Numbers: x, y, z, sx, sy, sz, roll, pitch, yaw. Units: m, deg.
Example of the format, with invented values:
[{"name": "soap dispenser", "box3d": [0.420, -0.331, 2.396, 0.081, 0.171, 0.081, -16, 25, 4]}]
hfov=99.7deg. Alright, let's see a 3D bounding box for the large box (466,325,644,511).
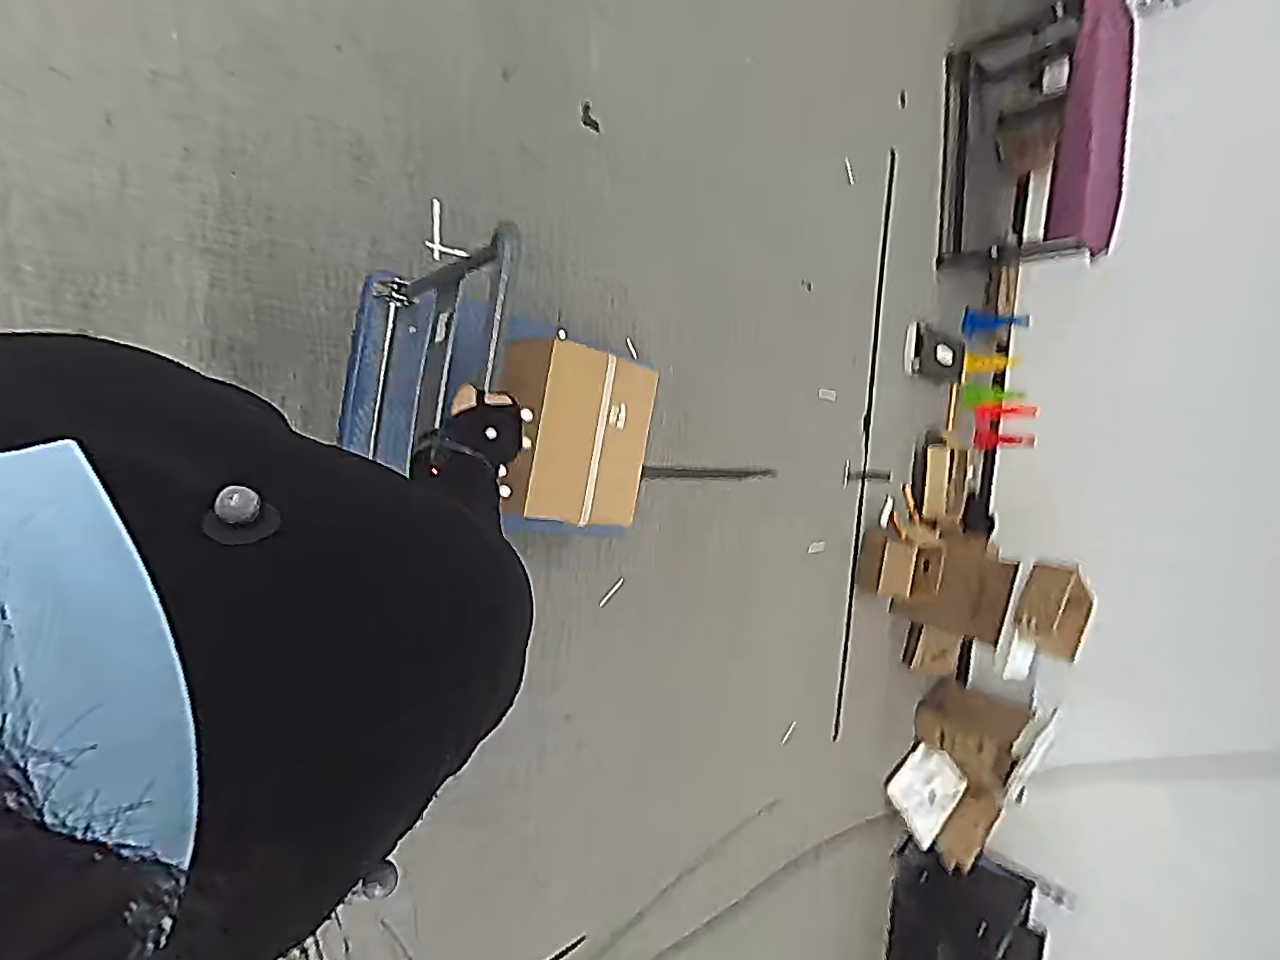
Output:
[{"name": "large box", "box3d": [-0.225, -0.143, 1.395, 0.320, 0.320, 0.408, 9, 90, -42]}]
